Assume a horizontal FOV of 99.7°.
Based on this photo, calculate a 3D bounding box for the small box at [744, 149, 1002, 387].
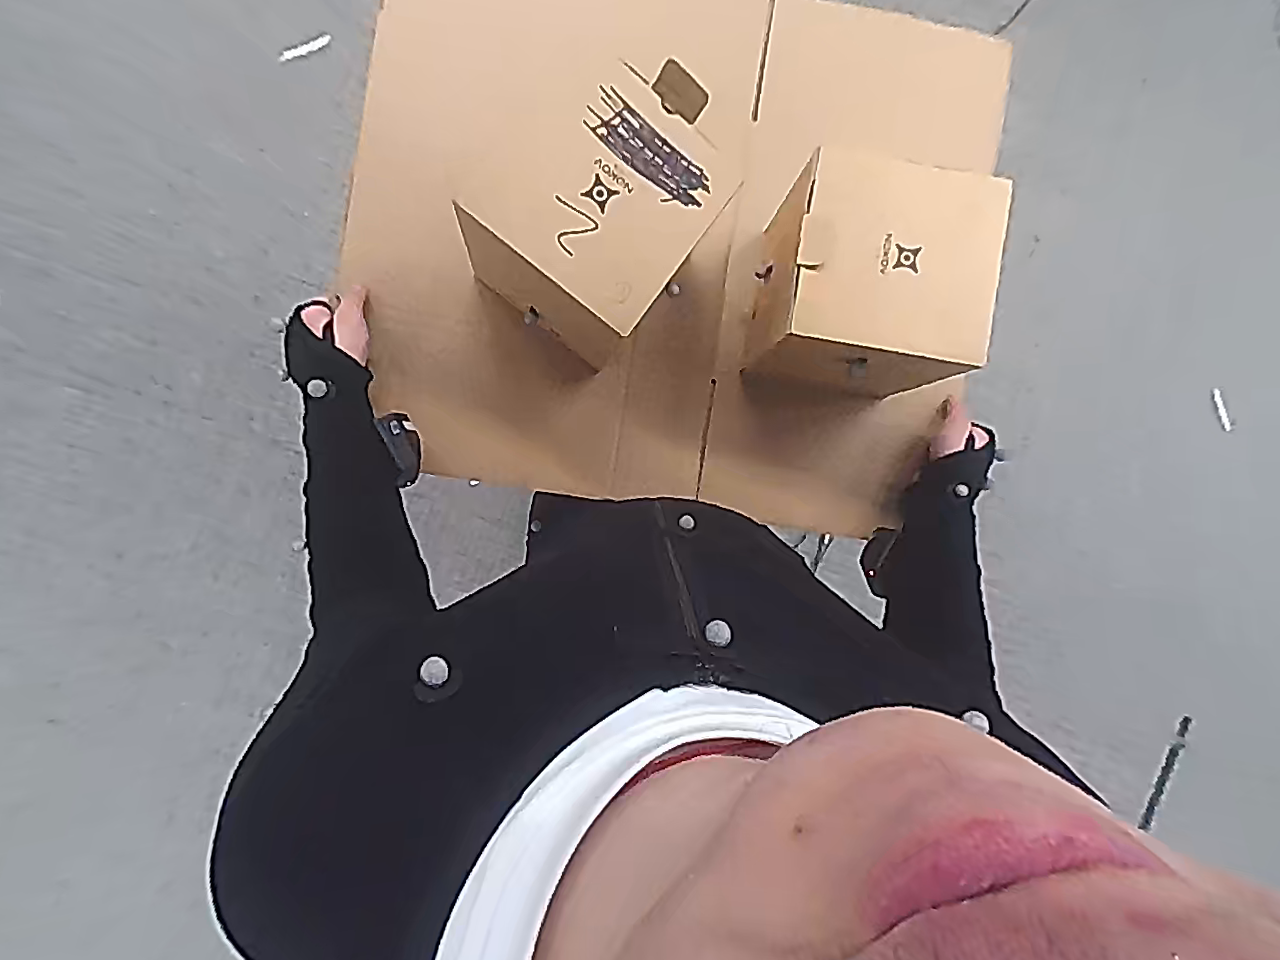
[{"bbox_3d":[0.222,-0.197,0.557,0.179,0.176,0.168,9,89,-3],"label":"small box"}]
